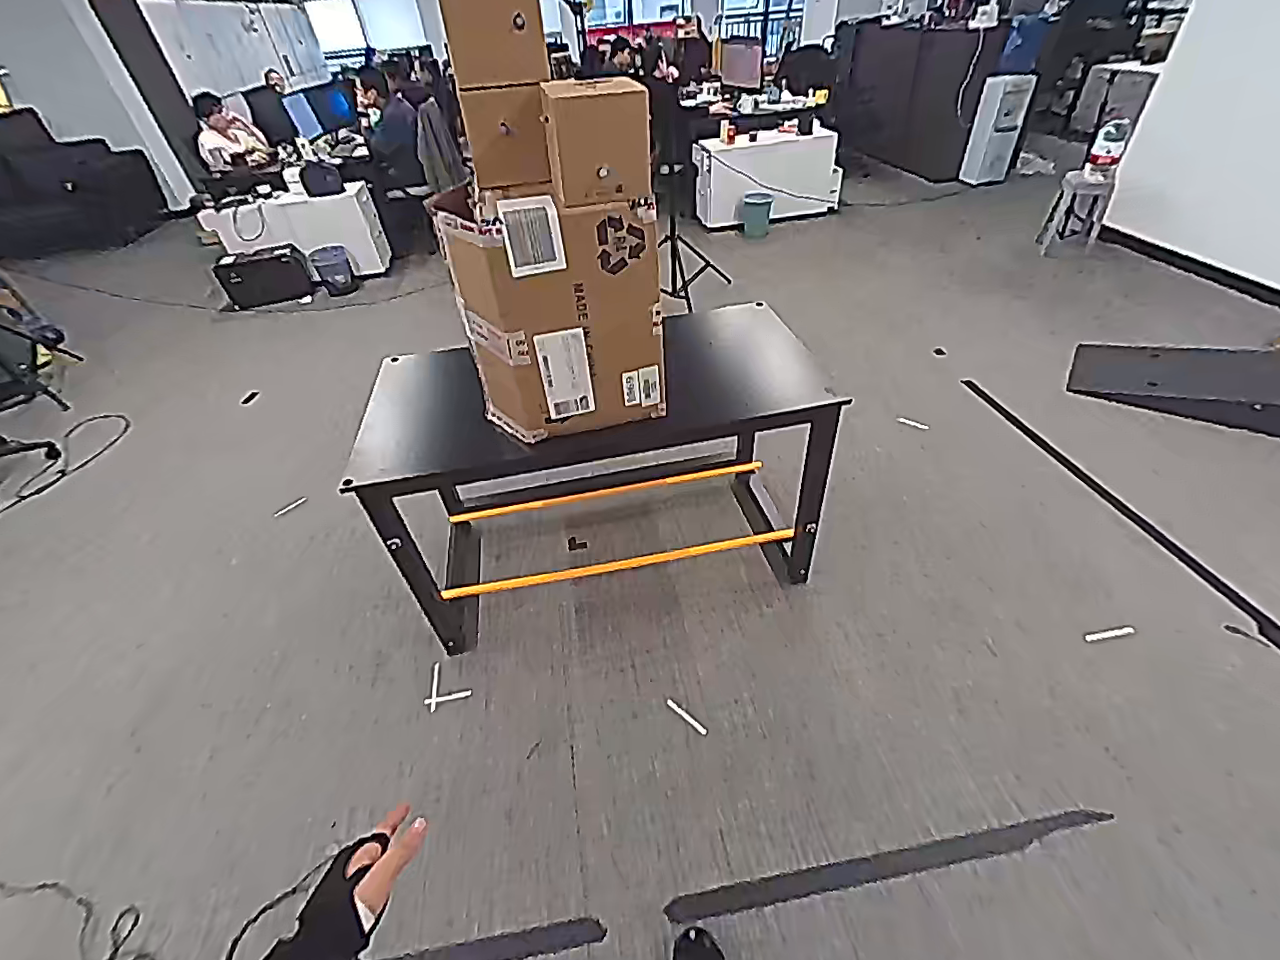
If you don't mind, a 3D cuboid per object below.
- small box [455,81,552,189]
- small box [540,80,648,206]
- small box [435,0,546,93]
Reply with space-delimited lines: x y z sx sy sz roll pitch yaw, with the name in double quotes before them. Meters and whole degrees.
"small box" -0.271 -0.715 1.121 0.179 0.176 0.168 -12 40 -8
"small box" -0.084 -0.622 0.999 0.168 0.176 0.179 -12 43 -9
"small box" -0.279 -0.839 1.014 0.179 0.176 0.168 -14 39 -10
